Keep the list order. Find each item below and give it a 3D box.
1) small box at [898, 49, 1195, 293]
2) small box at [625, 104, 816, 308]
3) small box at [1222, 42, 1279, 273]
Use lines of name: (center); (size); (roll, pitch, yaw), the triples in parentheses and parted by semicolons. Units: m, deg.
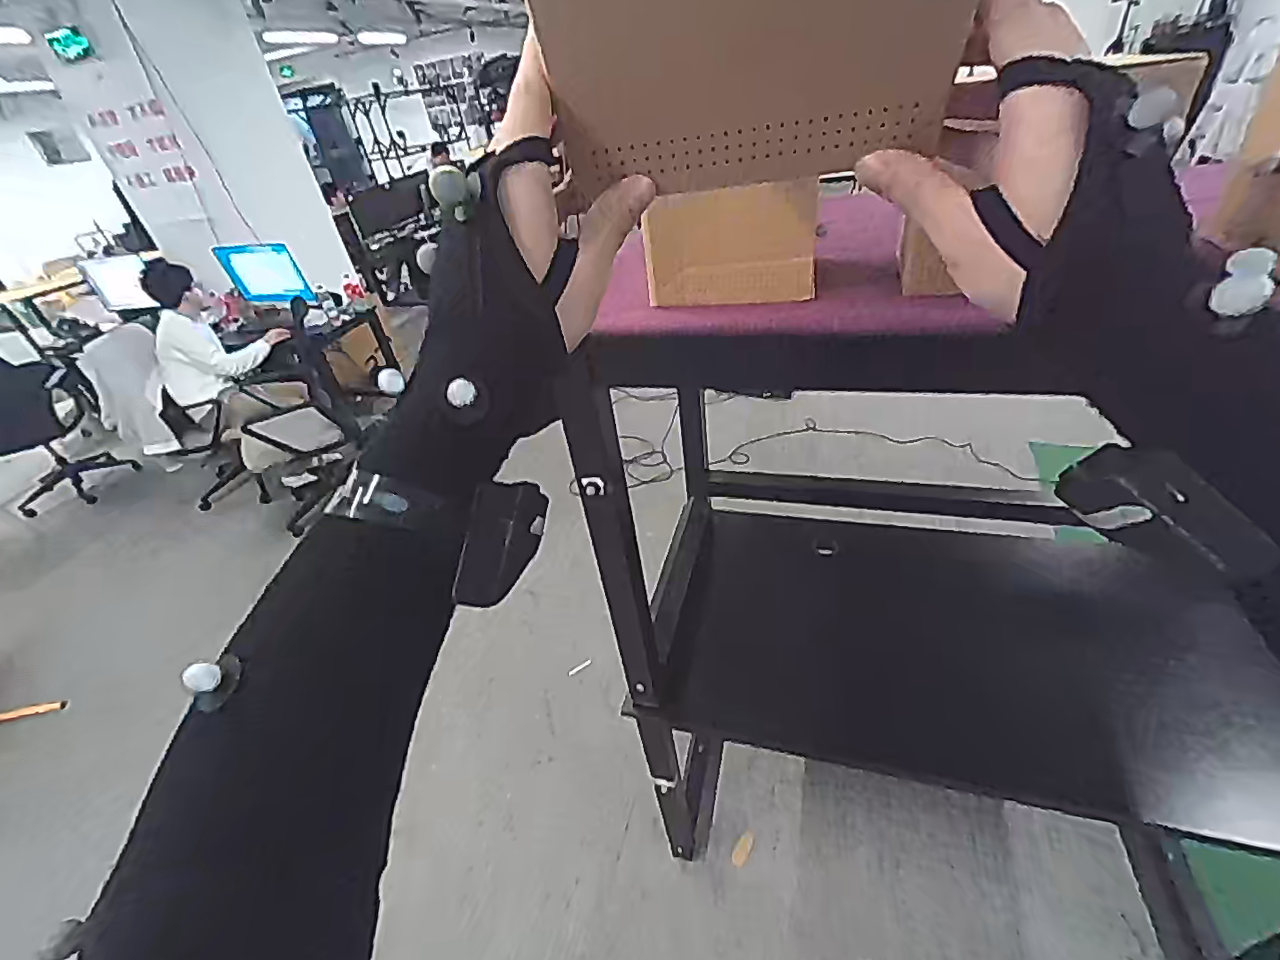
small box: (0.347, -0.284, 0.510); (0.179, 0.176, 0.168); (6, 38, 20)
small box: (0.098, -0.296, 0.593); (0.179, 0.176, 0.168); (3, 38, 16)
small box: (0.615, -0.264, 0.418); (0.179, 0.176, 0.168); (5, 38, 22)
